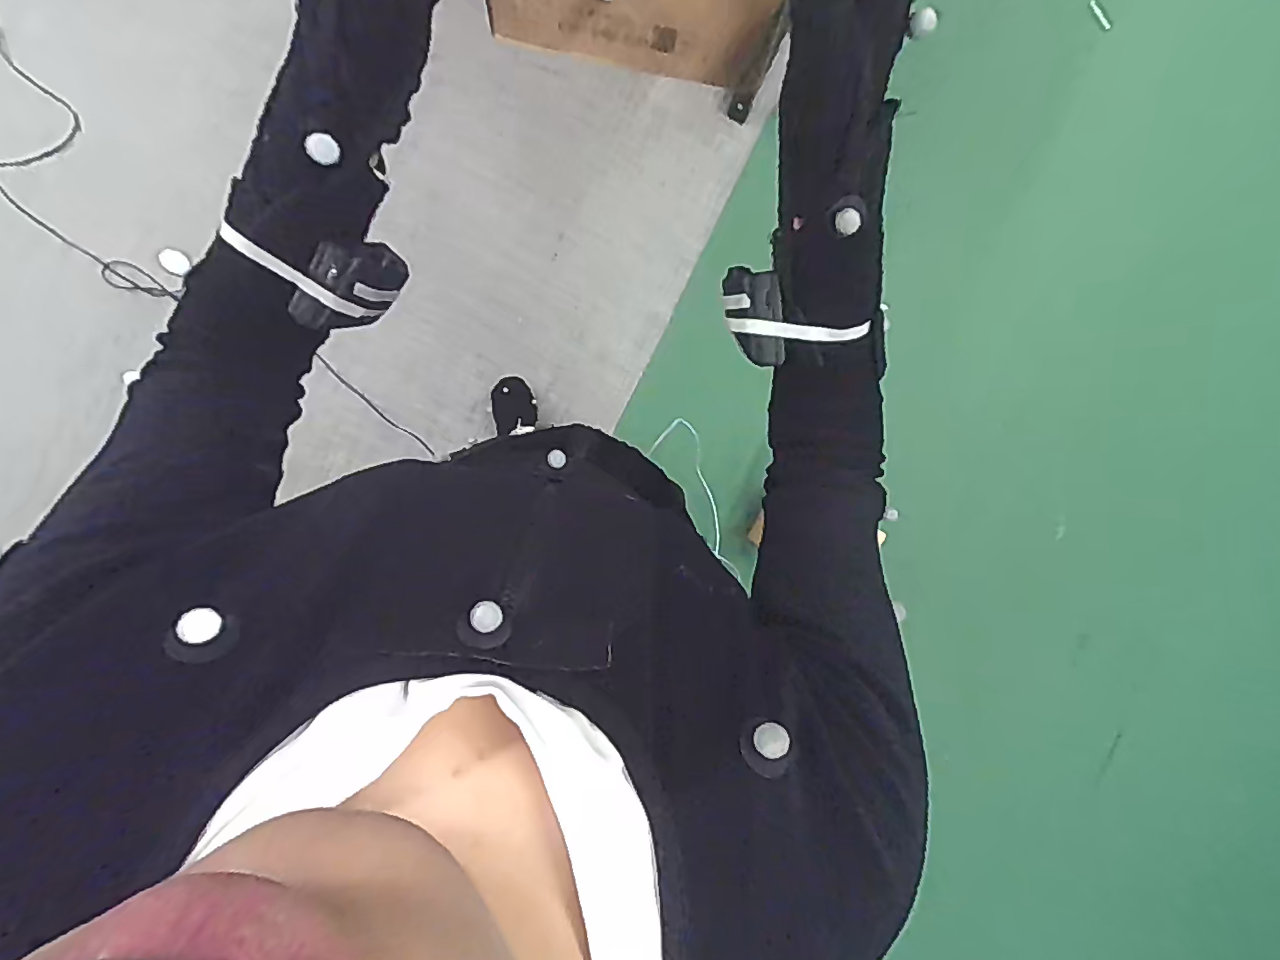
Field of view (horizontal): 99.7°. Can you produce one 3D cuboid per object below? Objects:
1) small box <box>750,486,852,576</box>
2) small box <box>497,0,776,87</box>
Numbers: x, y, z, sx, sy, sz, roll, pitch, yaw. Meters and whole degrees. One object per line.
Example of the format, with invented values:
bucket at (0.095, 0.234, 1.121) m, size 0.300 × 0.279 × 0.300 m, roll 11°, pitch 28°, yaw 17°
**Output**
small box at (0.412, 0.125, 1.419) m, size 0.179 × 0.176 × 0.168 m, roll 28°, pitch 93°, yaw -4°
small box at (0.007, -0.359, 0.277) m, size 0.168 × 0.176 × 0.179 m, roll 7°, pitch 82°, yaw -5°
